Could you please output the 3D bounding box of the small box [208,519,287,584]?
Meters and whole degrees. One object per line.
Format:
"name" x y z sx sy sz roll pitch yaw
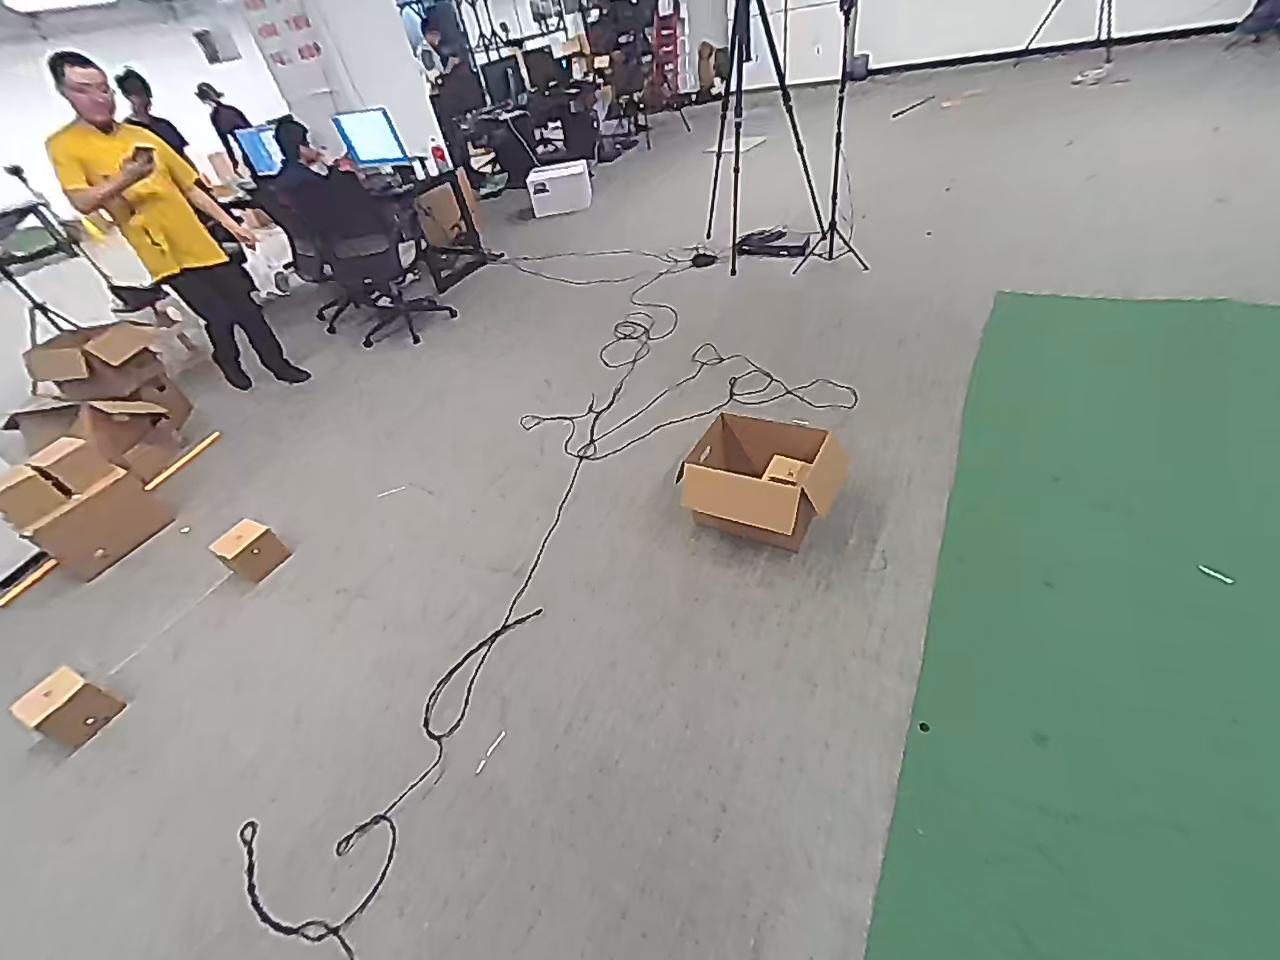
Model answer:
"small box" -1.580 0.290 2.193 0.168 0.176 0.179 13 48 25

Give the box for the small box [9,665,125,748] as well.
"small box" -1.869 0.745 1.771 0.179 0.176 0.168 12 48 25
